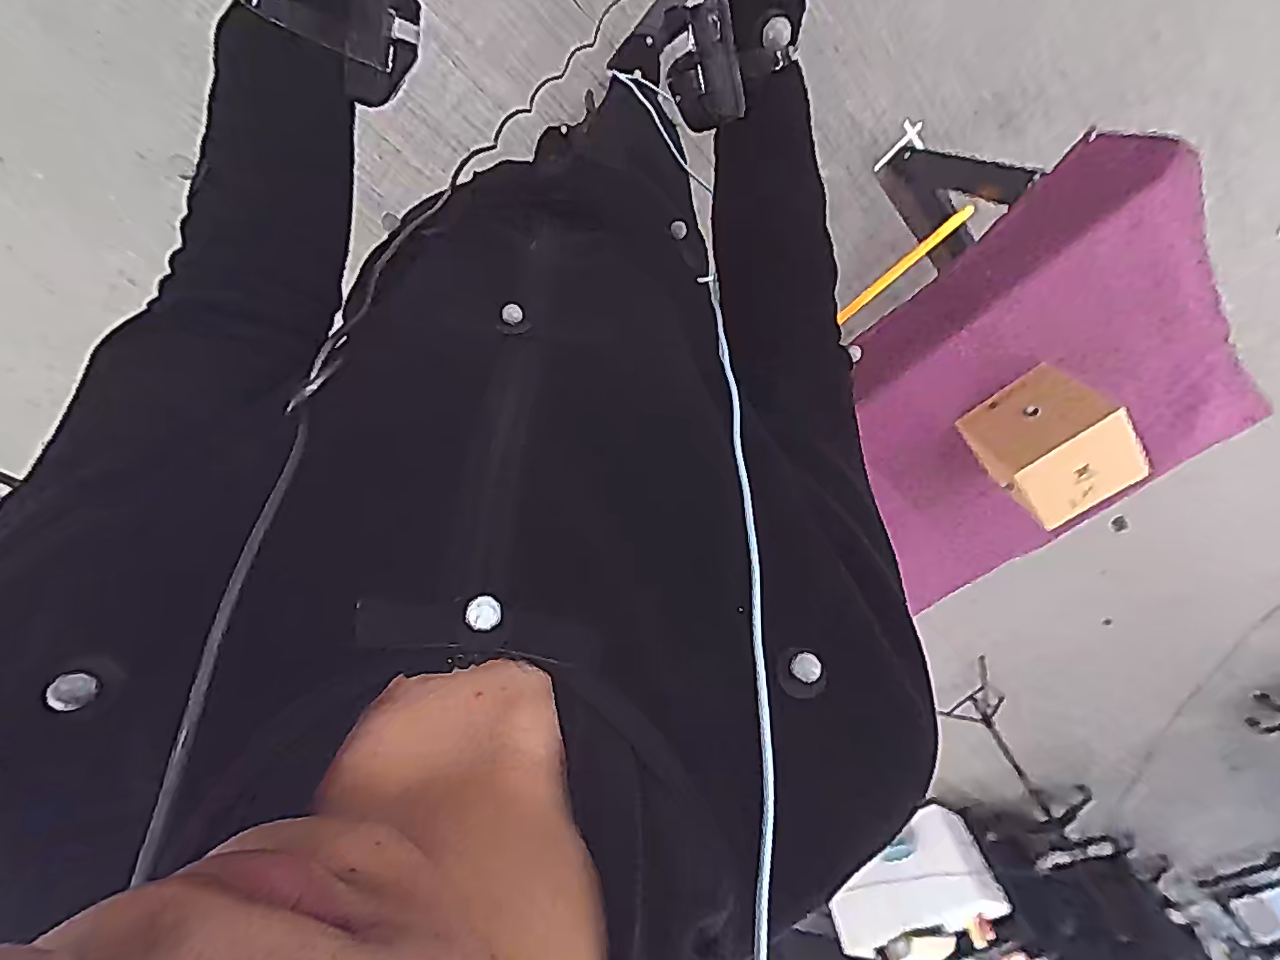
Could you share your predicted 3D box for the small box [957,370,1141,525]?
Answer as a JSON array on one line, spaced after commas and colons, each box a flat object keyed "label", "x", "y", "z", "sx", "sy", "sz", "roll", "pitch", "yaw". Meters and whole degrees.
[{"label": "small box", "x": 0.683, "y": -0.063, "z": 0.920, "sx": 0.168, "sy": 0.176, "sz": 0.179, "roll": -38, "pitch": 122, "yaw": 21}]
